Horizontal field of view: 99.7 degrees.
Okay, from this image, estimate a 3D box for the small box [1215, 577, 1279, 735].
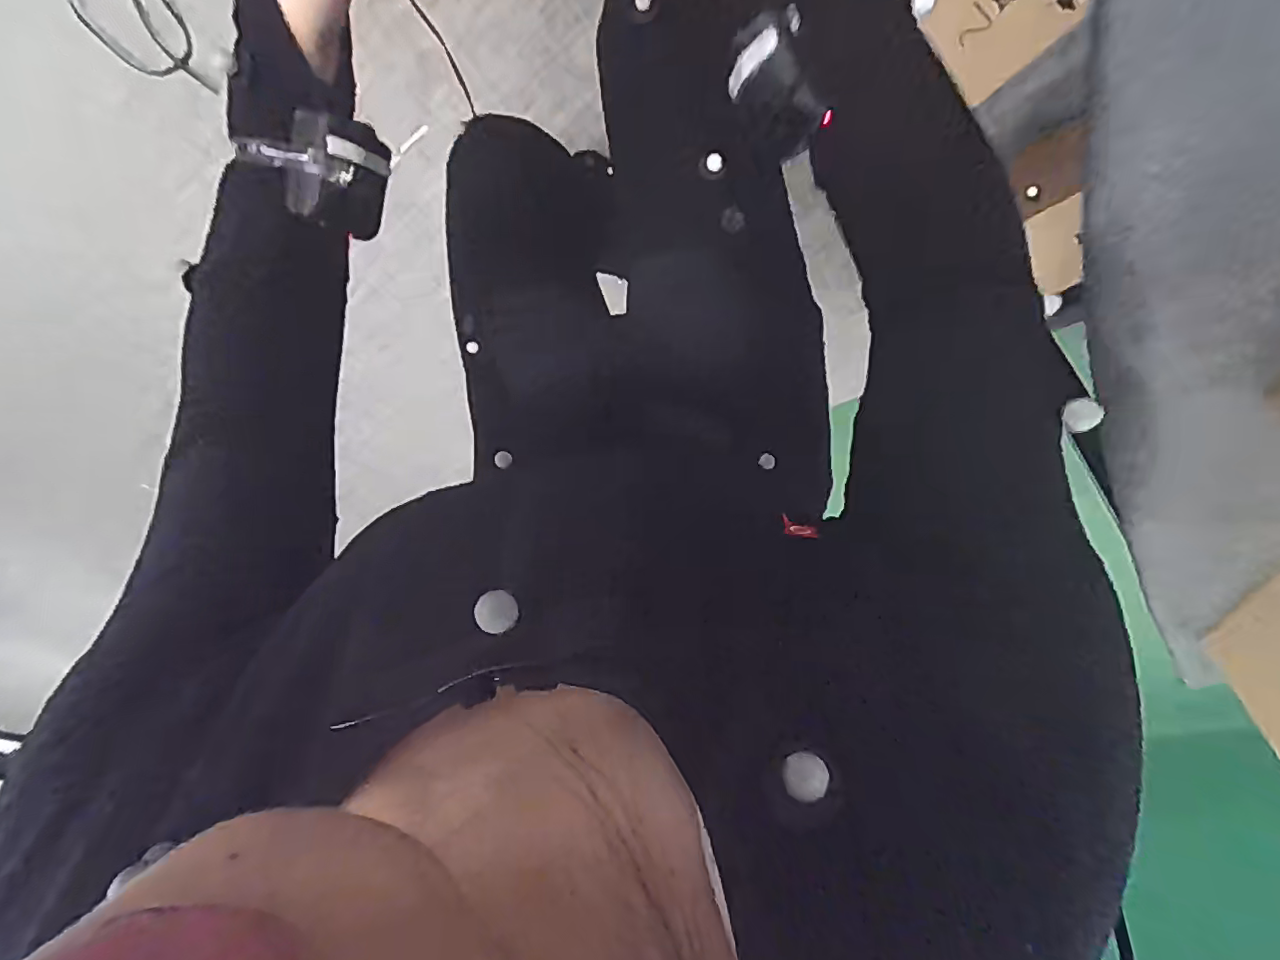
[{"bbox_3d":[0.657,0.166,0.451,0.168,0.176,0.179,-9,139,15],"label":"small box"}]
